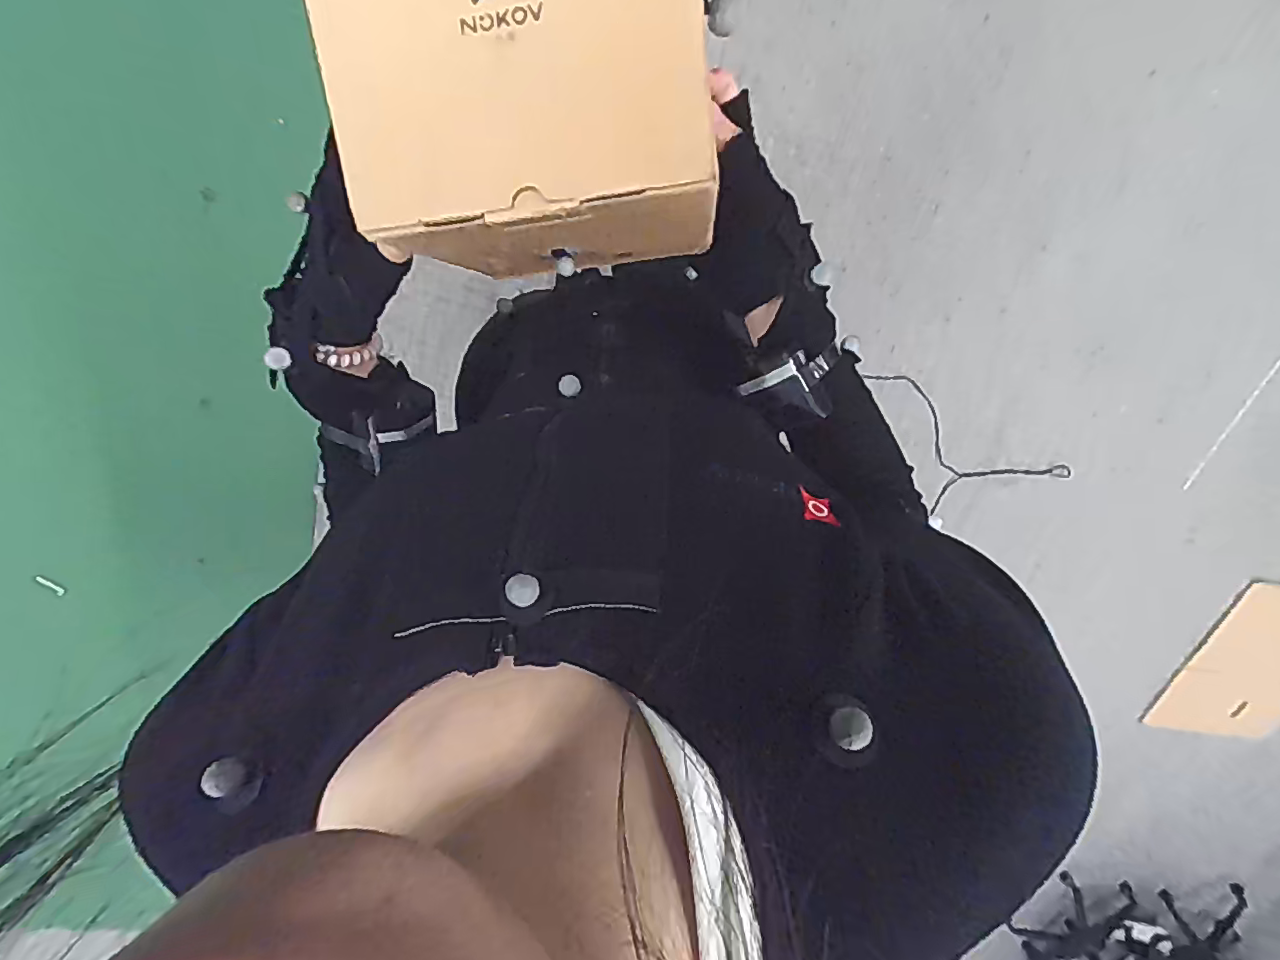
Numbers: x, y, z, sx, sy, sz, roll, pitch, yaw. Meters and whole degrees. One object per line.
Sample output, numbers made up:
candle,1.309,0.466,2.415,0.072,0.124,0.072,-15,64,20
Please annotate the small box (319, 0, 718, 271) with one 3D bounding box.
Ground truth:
small box,-0.048,-0.228,0.303,0.168,0.176,0.179,-5,105,8
